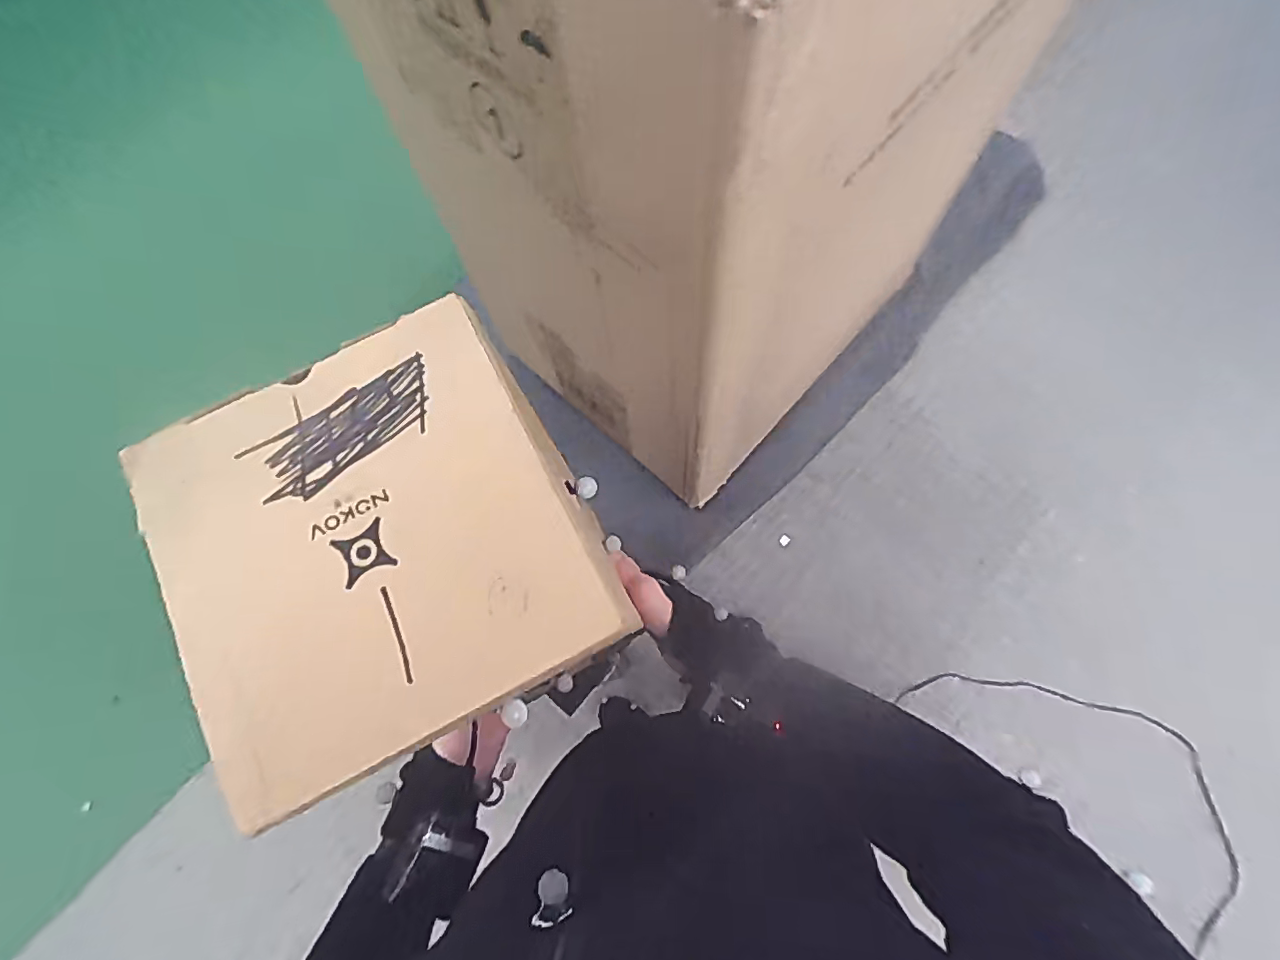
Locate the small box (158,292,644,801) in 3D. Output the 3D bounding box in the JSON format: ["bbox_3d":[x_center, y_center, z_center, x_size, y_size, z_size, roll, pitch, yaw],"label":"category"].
[{"bbox_3d":[-0.108,0.037,0.312,0.168,0.176,0.179,-28,76,-5],"label":"small box"}]
